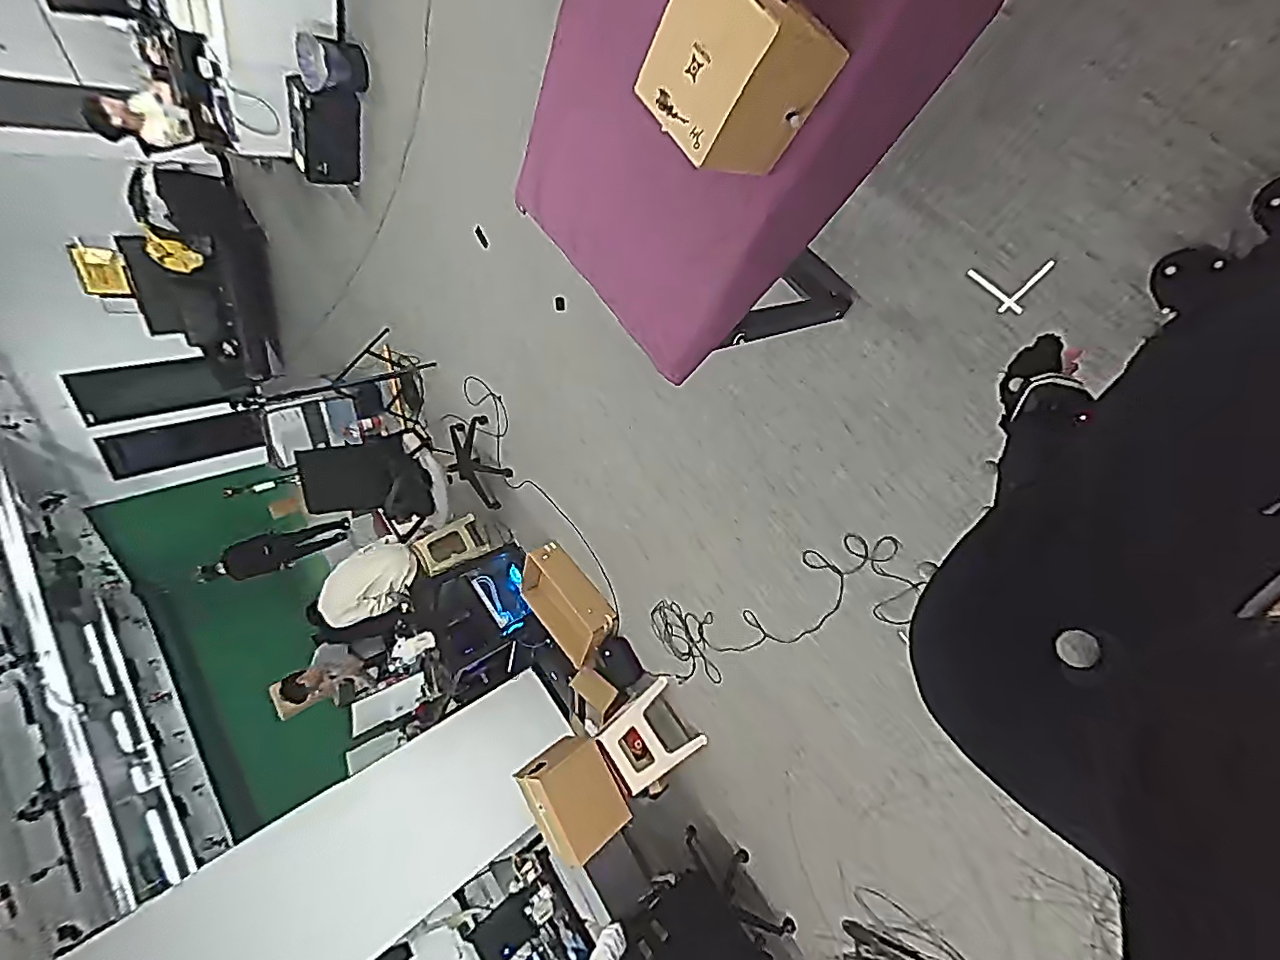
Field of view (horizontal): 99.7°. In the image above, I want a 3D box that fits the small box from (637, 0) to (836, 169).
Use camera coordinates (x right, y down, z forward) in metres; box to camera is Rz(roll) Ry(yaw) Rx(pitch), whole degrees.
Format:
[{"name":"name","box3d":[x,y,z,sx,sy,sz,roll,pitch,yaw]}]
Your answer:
[{"name":"small box","box3d":[0.133,-0.552,0.725,0.168,0.176,0.179,57,140,13]}]
